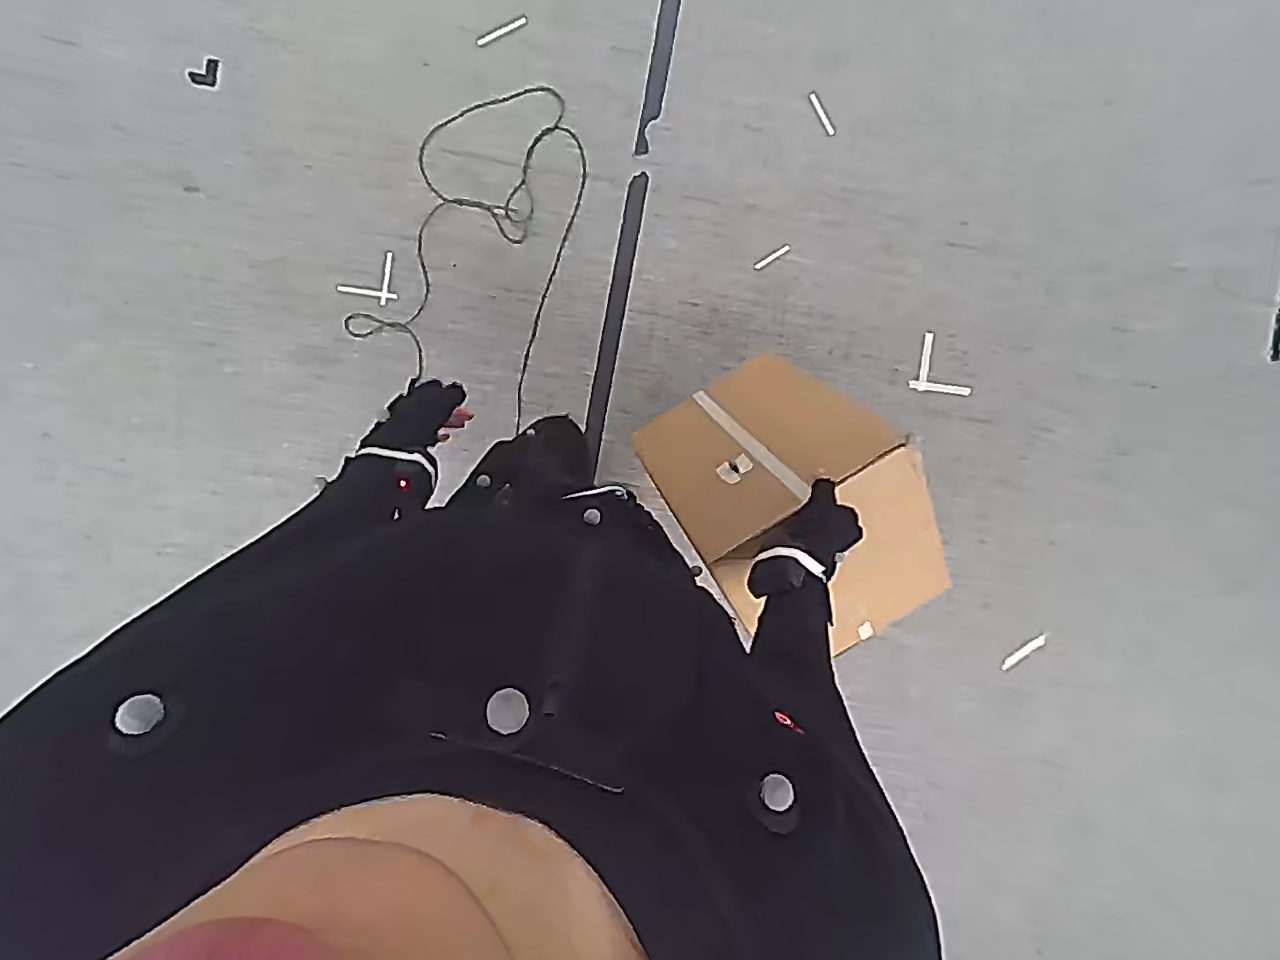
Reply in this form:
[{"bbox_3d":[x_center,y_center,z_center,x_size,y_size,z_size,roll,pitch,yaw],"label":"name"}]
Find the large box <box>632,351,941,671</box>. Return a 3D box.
[{"bbox_3d":[0.234,0.035,0.941,0.320,0.408,0.320,-32,125,2],"label":"large box"}]
